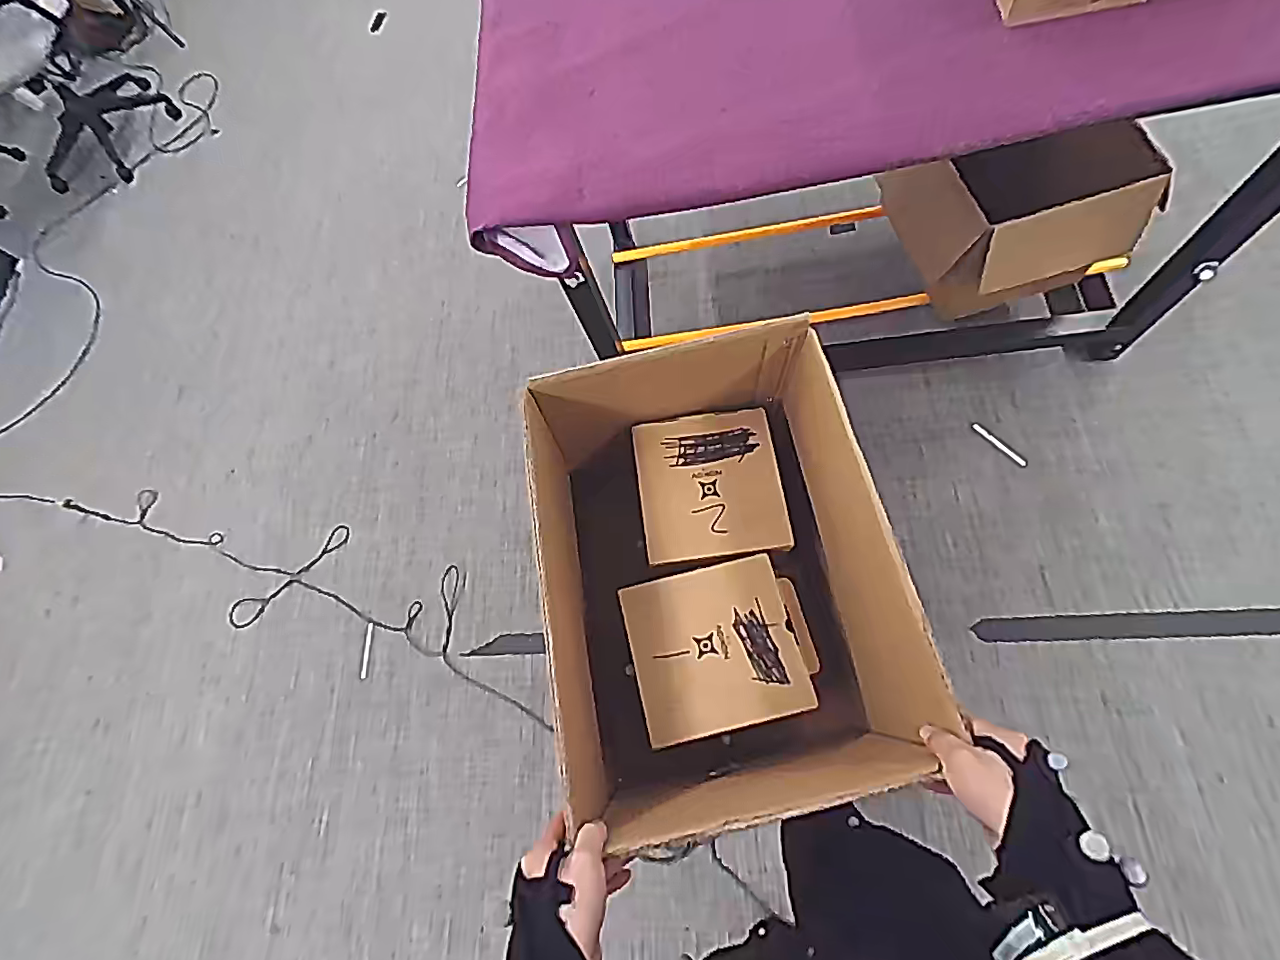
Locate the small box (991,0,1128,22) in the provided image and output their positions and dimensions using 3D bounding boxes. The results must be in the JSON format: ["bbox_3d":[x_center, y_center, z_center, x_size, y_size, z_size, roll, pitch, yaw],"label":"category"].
[{"bbox_3d":[0.544,-0.718,0.663,0.168,0.176,0.179,-3,69,12],"label":"small box"}]
